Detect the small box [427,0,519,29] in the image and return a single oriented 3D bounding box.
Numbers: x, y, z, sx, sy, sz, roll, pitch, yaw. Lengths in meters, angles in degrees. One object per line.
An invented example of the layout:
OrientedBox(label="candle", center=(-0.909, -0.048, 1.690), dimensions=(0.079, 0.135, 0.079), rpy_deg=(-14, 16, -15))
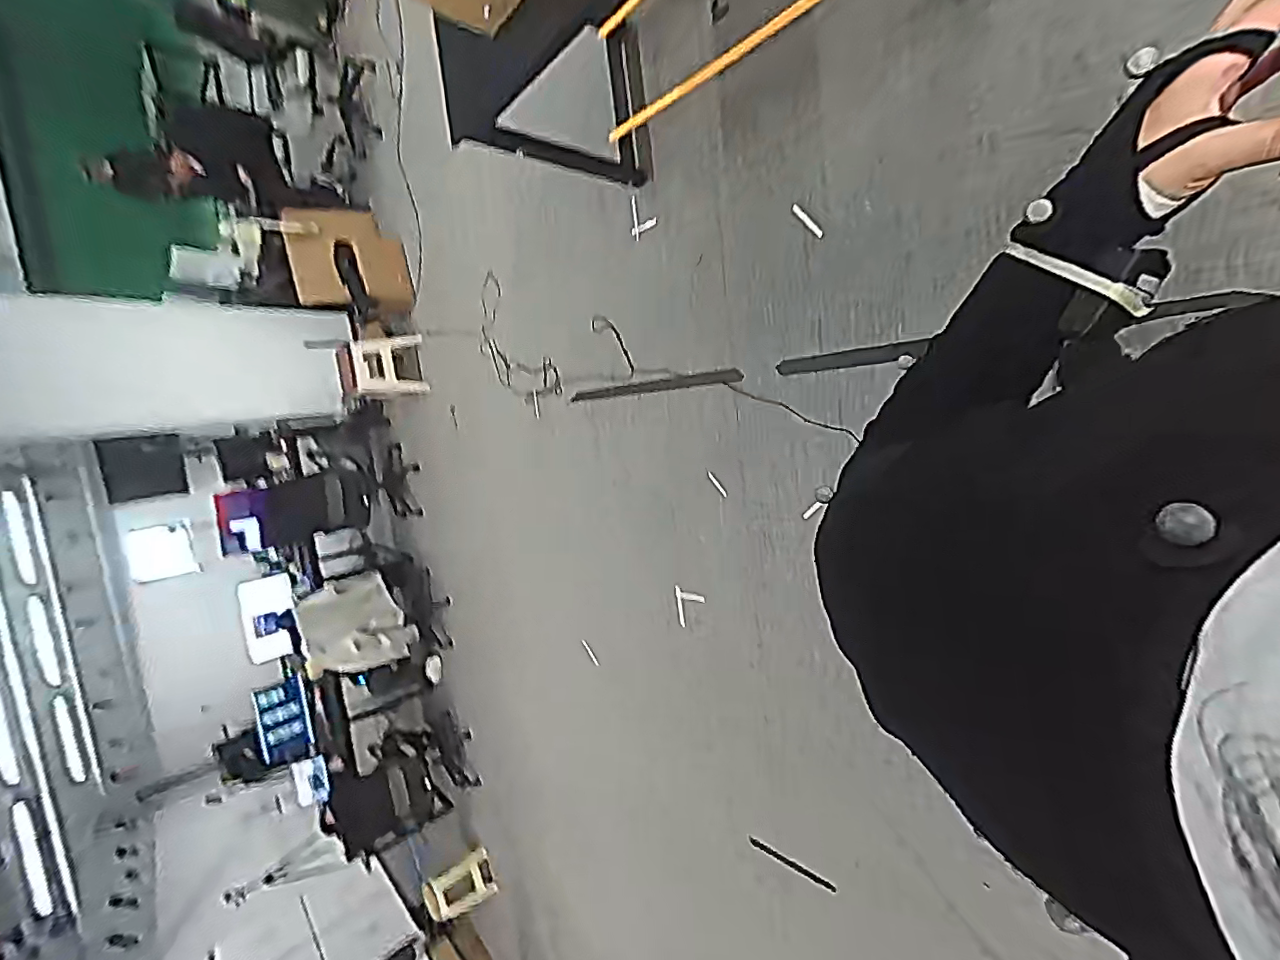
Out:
OrientedBox(label="small box", center=(-0.379, -1.183, 1.219), dimensions=(0.168, 0.176, 0.179), rpy_deg=(3, 101, 48))

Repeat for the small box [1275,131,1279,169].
OrientedBox(label="small box", center=(0.453, -0.252, 0.249), dimensions=(0.179, 0.176, 0.168), rpy_deg=(17, 117, 40))
